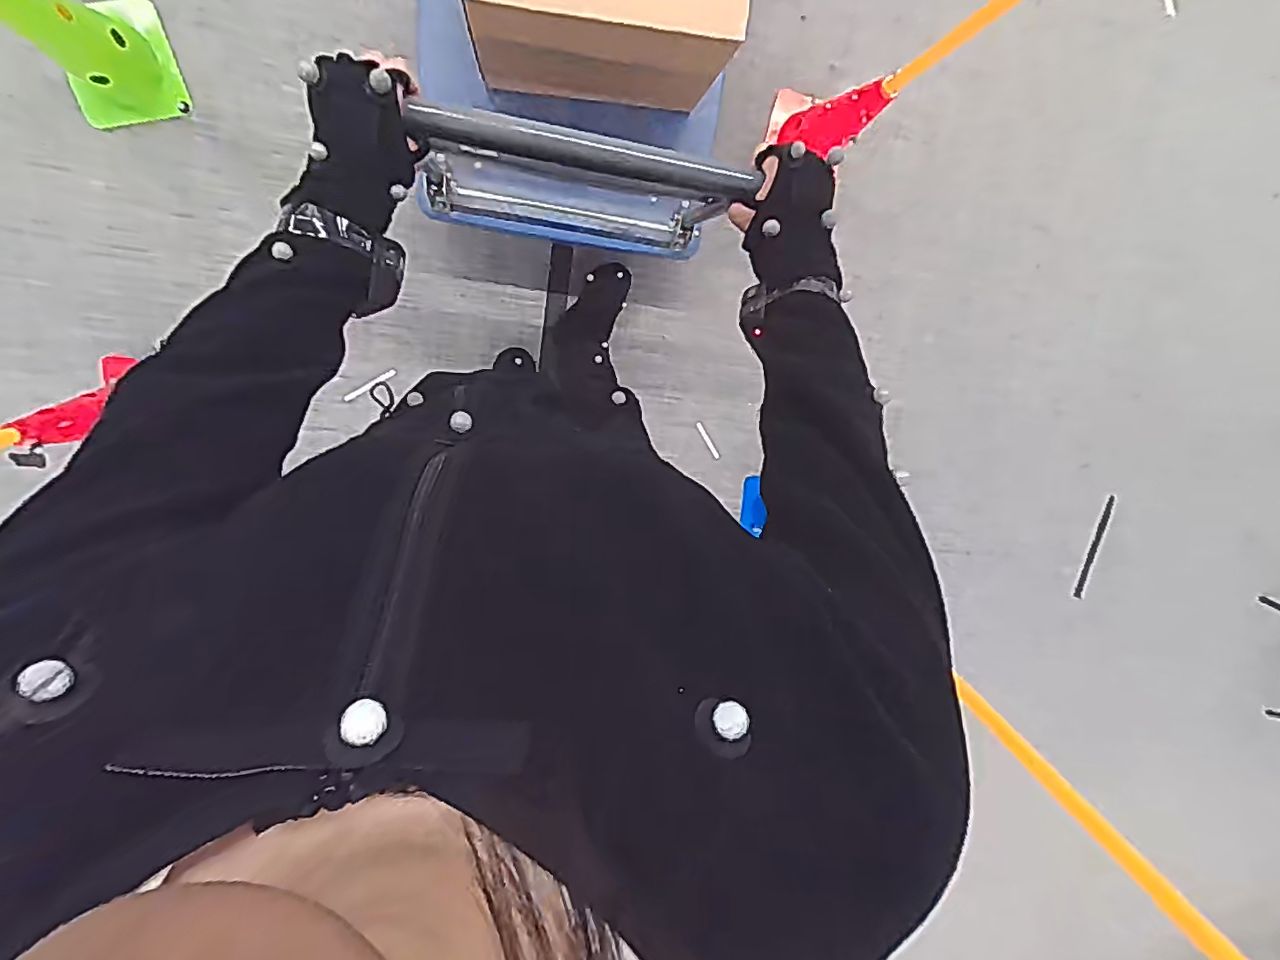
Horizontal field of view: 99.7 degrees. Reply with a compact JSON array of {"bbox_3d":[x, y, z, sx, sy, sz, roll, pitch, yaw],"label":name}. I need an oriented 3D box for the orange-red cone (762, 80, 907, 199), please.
[{"bbox_3d":[0.436,-0.754,1.139,0.199,0.360,0.198,12,104,-14],"label":"orange-red cone"}]

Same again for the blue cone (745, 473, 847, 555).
[{"bbox_3d":[0.424,0.117,1.408,0.193,0.380,0.192,2,105,-11],"label":"blue cone"}]
